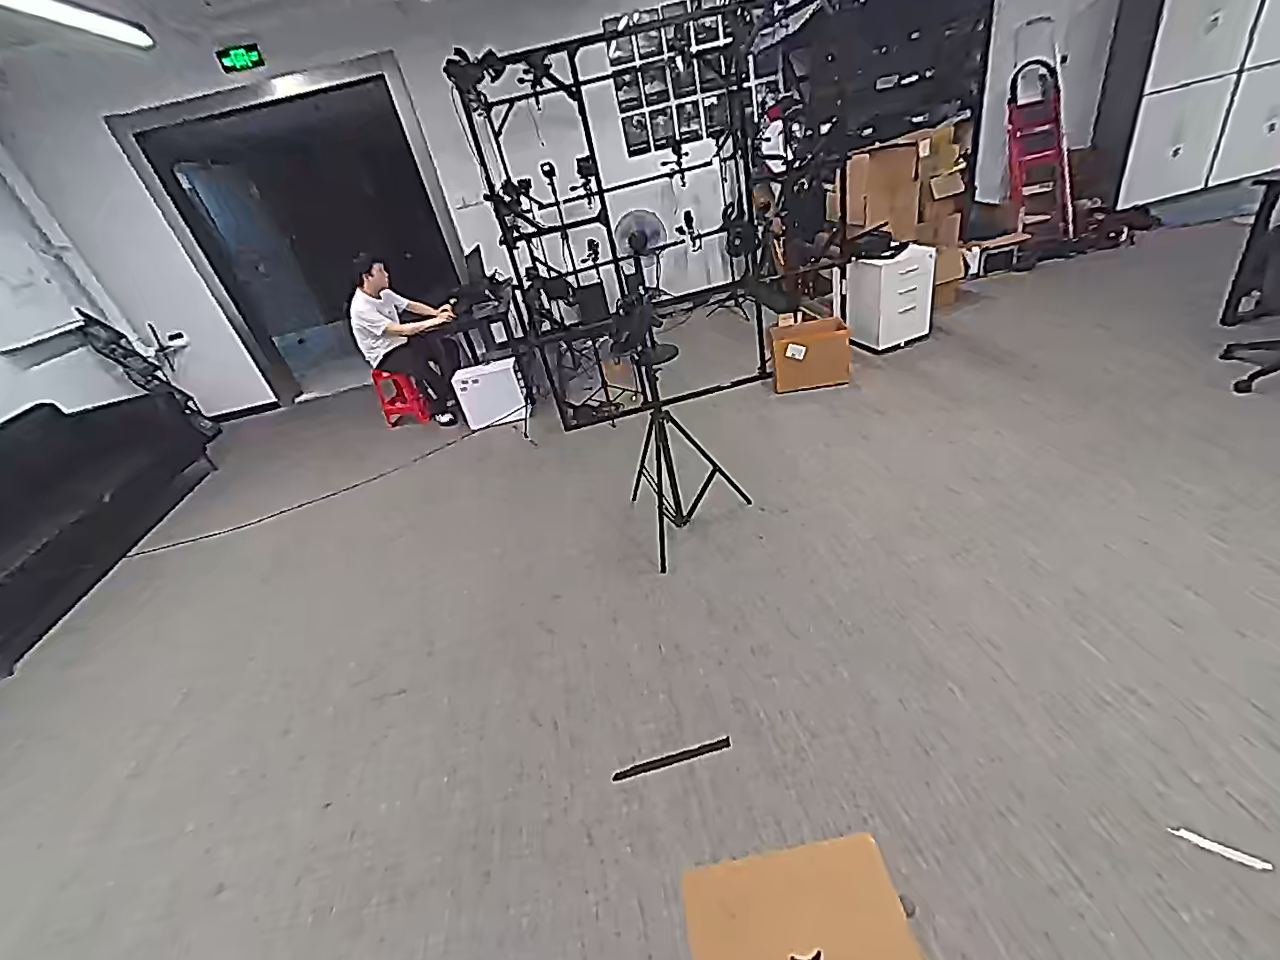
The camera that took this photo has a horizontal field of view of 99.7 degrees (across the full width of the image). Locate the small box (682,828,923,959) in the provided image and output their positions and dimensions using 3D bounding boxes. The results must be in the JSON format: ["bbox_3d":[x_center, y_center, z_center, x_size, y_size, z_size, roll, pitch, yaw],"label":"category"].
[{"bbox_3d":[0.137,0.419,0.431,0.168,0.176,0.179,-14,38,2],"label":"small box"}]
